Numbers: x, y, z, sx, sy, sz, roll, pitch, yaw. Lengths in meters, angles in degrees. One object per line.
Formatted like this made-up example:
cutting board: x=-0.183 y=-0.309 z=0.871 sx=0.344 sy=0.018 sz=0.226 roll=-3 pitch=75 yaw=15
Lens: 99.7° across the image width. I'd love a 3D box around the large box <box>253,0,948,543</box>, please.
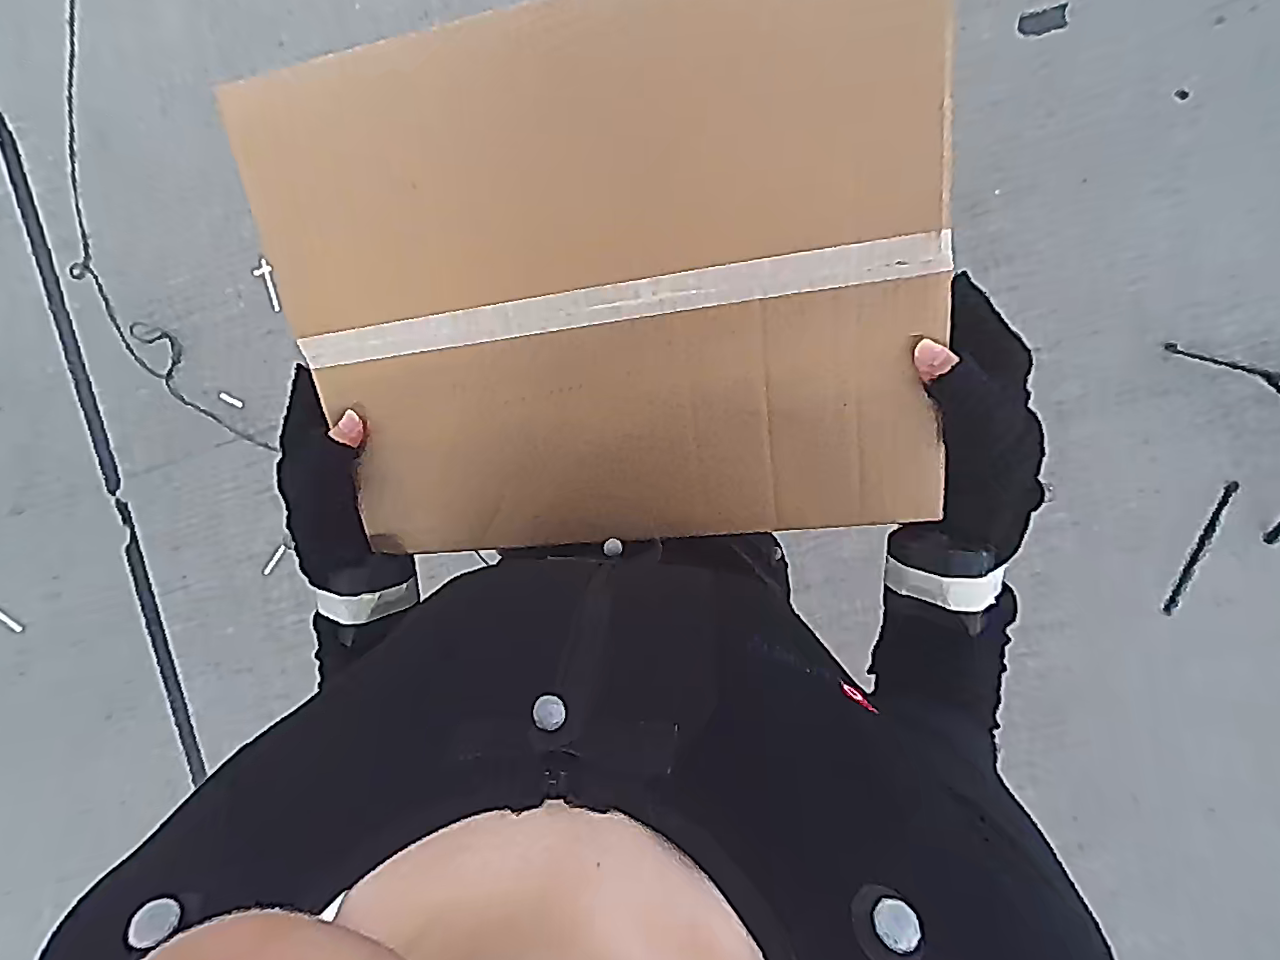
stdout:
large box: x=-0.004 y=-0.161 z=0.477 sx=0.408 sy=0.320 sz=0.320 roll=-5 pitch=110 yaw=12
